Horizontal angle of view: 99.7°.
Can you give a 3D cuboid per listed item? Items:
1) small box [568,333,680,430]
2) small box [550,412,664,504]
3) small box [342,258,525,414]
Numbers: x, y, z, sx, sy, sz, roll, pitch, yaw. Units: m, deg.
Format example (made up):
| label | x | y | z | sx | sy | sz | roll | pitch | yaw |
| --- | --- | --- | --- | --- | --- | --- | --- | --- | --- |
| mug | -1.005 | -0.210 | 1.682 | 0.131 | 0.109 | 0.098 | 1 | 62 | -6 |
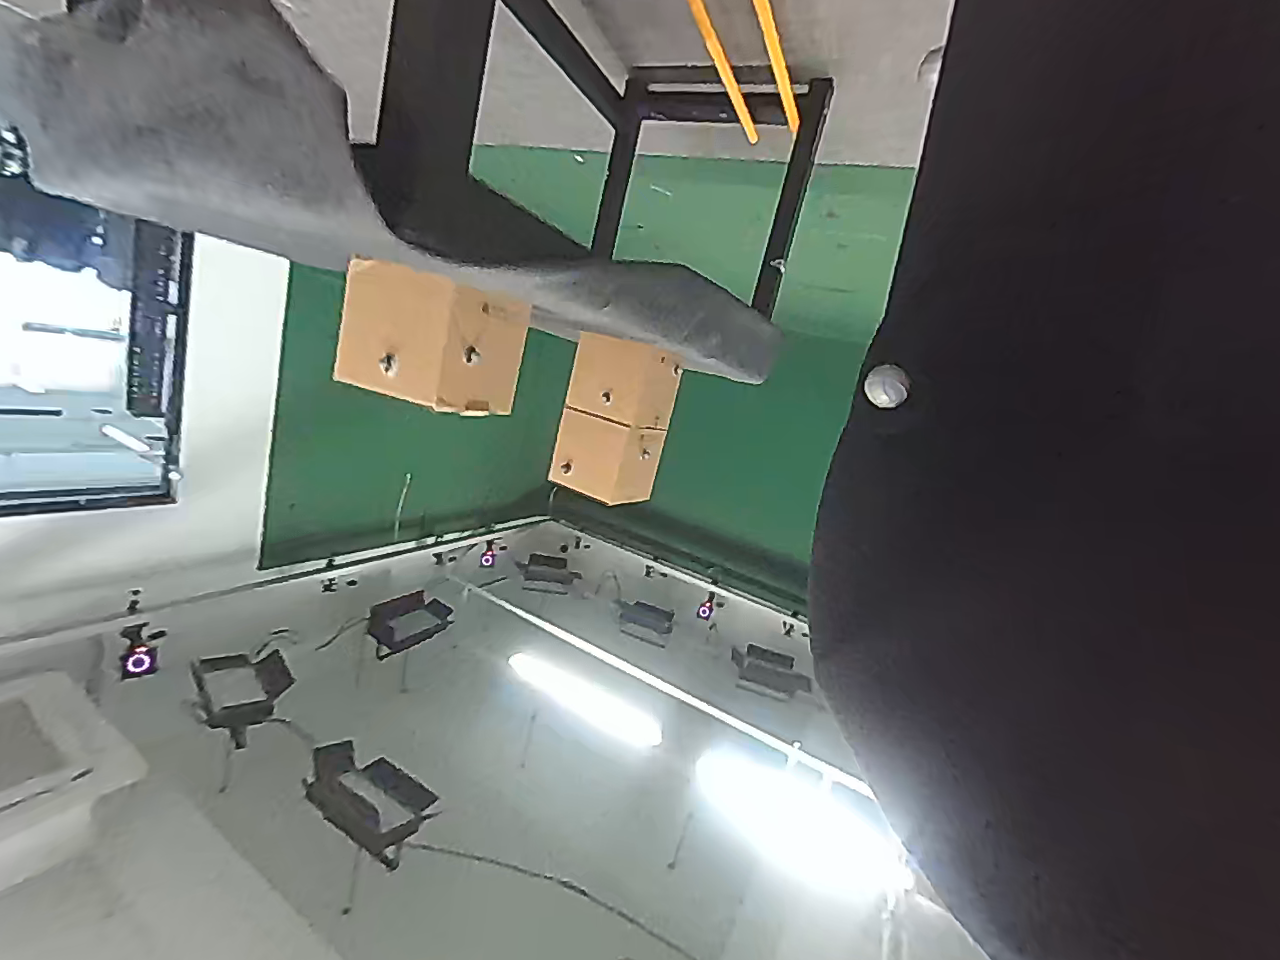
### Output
| label | x | y | z | sx | sy | sz | roll | pitch | yaw |
| --- | --- | --- | --- | --- | --- | --- | --- | --- | --- |
| small box | -0.028 | -0.213 | 1.175 | 0.179 | 0.176 | 0.168 | 21 | -168 | 27 |
| small box | -0.069 | -0.056 | 1.206 | 0.179 | 0.176 | 0.168 | 20 | -167 | 29 |
| small box | -0.278 | -0.196 | 0.757 | 0.179 | 0.176 | 0.168 | 19 | -169 | 19 |
